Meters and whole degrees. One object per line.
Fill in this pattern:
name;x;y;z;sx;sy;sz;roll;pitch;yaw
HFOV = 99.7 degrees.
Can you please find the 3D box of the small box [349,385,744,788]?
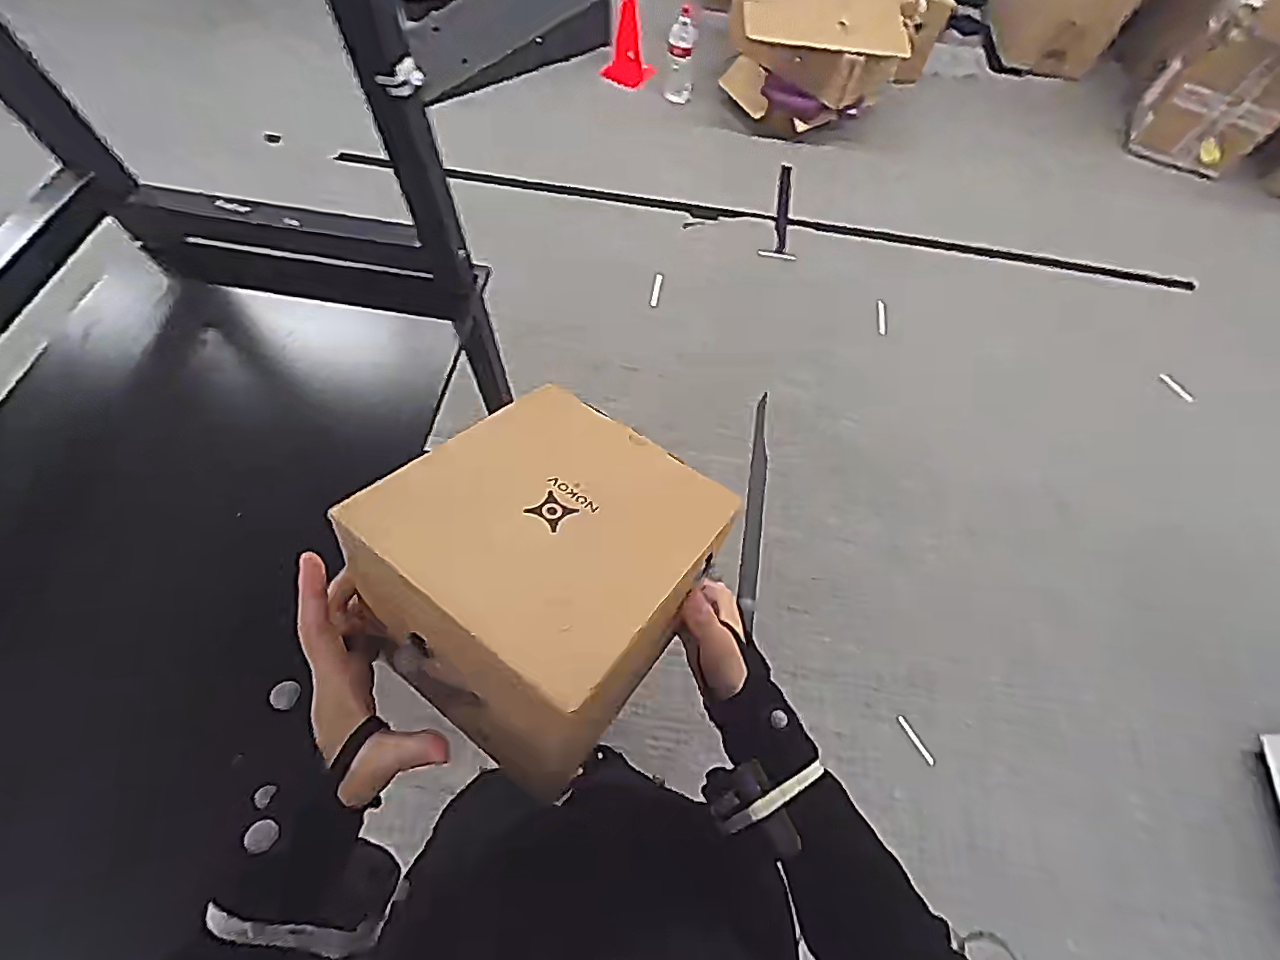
small box;-0.056;0.070;0.373;0.168;0.176;0.179;30;46;16
